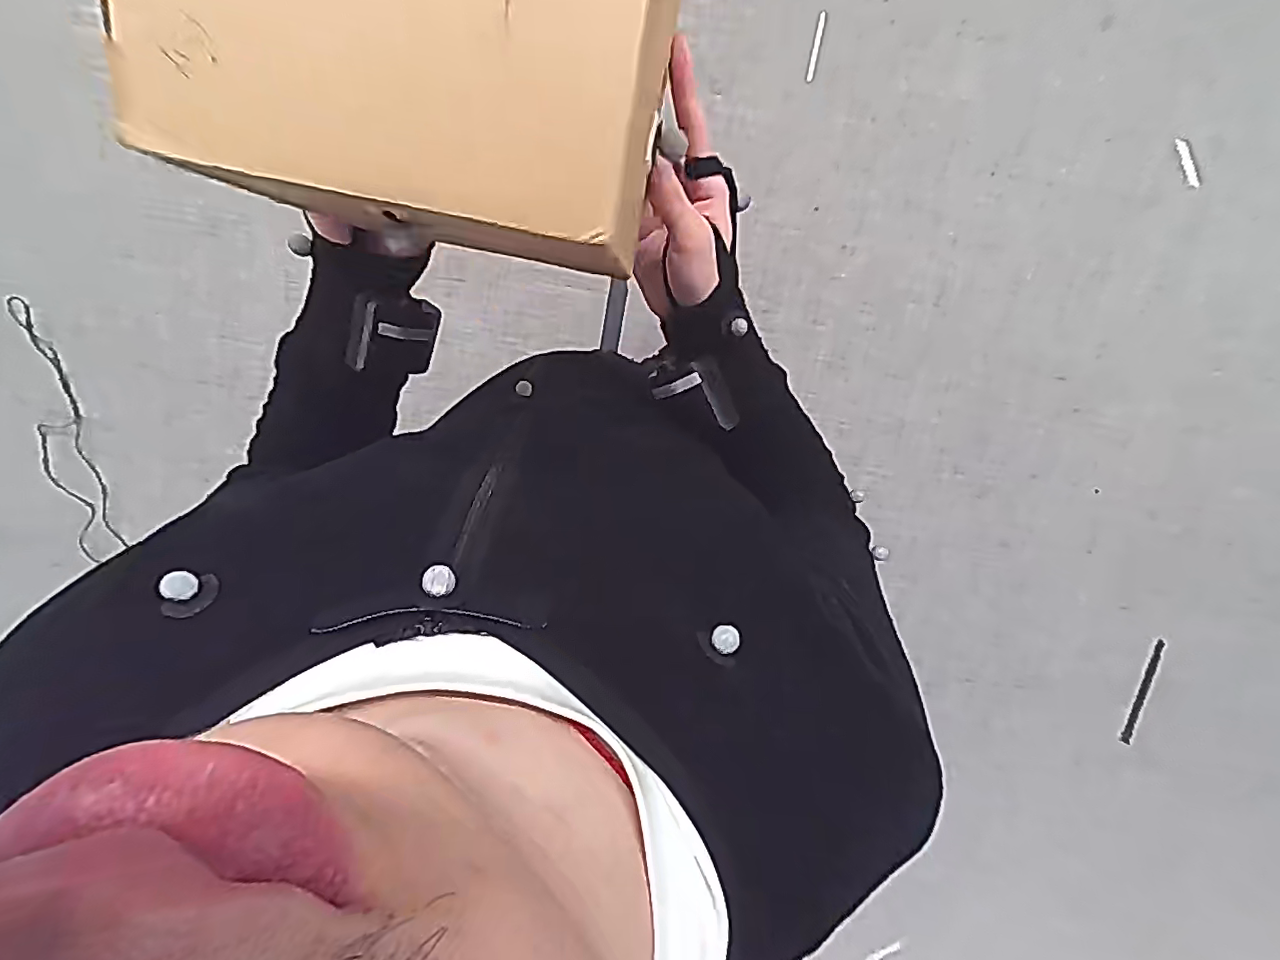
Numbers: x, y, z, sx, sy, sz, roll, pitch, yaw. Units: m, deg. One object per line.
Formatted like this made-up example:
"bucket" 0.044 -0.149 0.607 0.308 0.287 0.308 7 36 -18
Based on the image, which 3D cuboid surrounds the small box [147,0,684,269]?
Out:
"small box" -0.075 -0.202 0.253 0.179 0.176 0.168 9 107 -1
